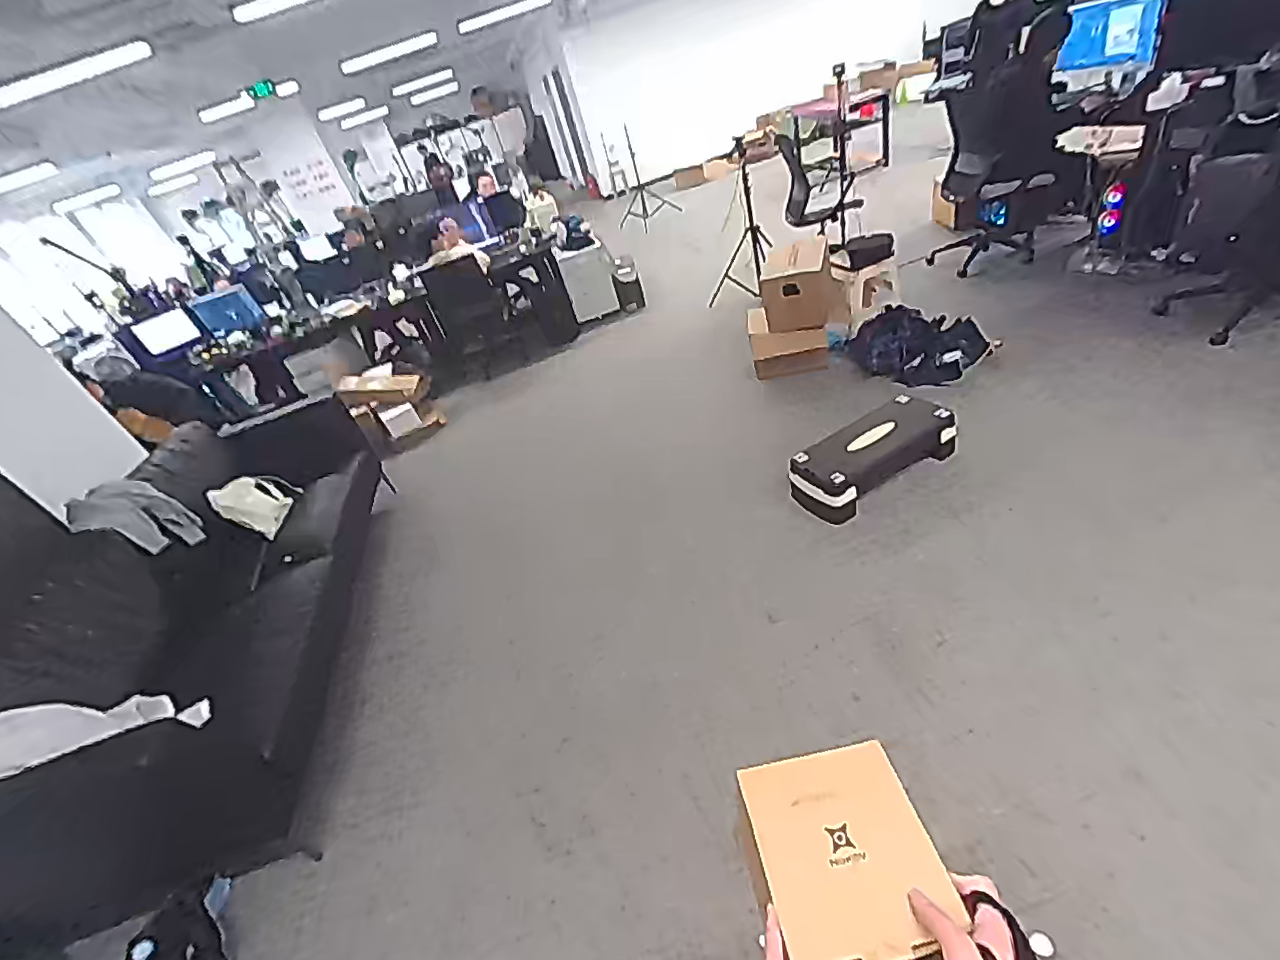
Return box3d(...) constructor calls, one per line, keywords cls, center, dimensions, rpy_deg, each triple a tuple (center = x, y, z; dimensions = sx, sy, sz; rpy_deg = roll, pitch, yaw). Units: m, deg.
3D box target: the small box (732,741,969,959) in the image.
box3d(cls="small box", center=(0.204, 0.417, 0.572), dimensions=(0.168, 0.176, 0.179), rpy_deg=(-12, 36, -2))
